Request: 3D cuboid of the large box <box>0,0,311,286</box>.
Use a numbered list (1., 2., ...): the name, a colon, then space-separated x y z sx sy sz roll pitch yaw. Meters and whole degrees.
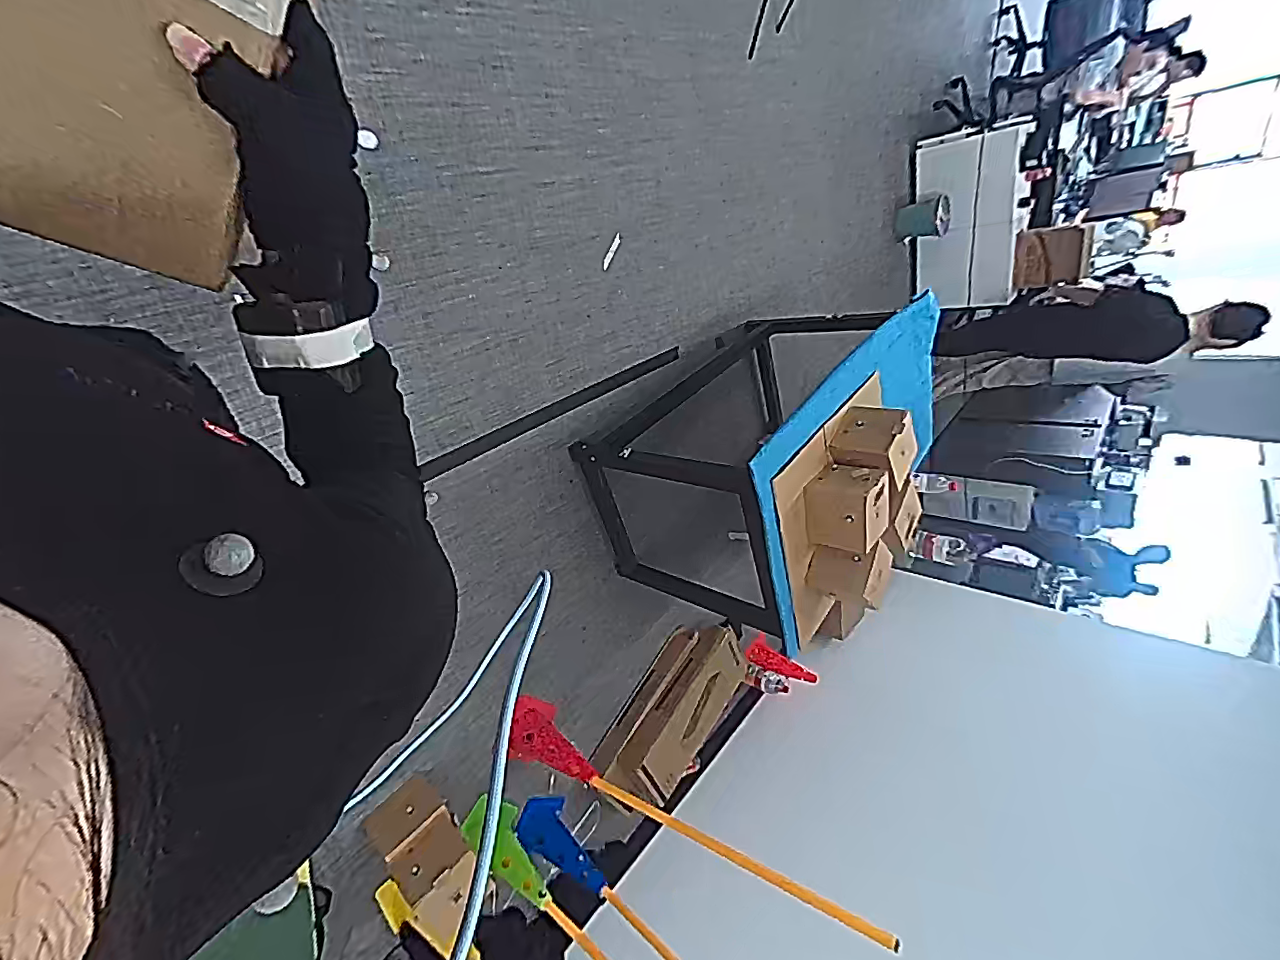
1. large box: -0.406 -0.363 0.271 0.408 0.320 0.320 13 121 -36
